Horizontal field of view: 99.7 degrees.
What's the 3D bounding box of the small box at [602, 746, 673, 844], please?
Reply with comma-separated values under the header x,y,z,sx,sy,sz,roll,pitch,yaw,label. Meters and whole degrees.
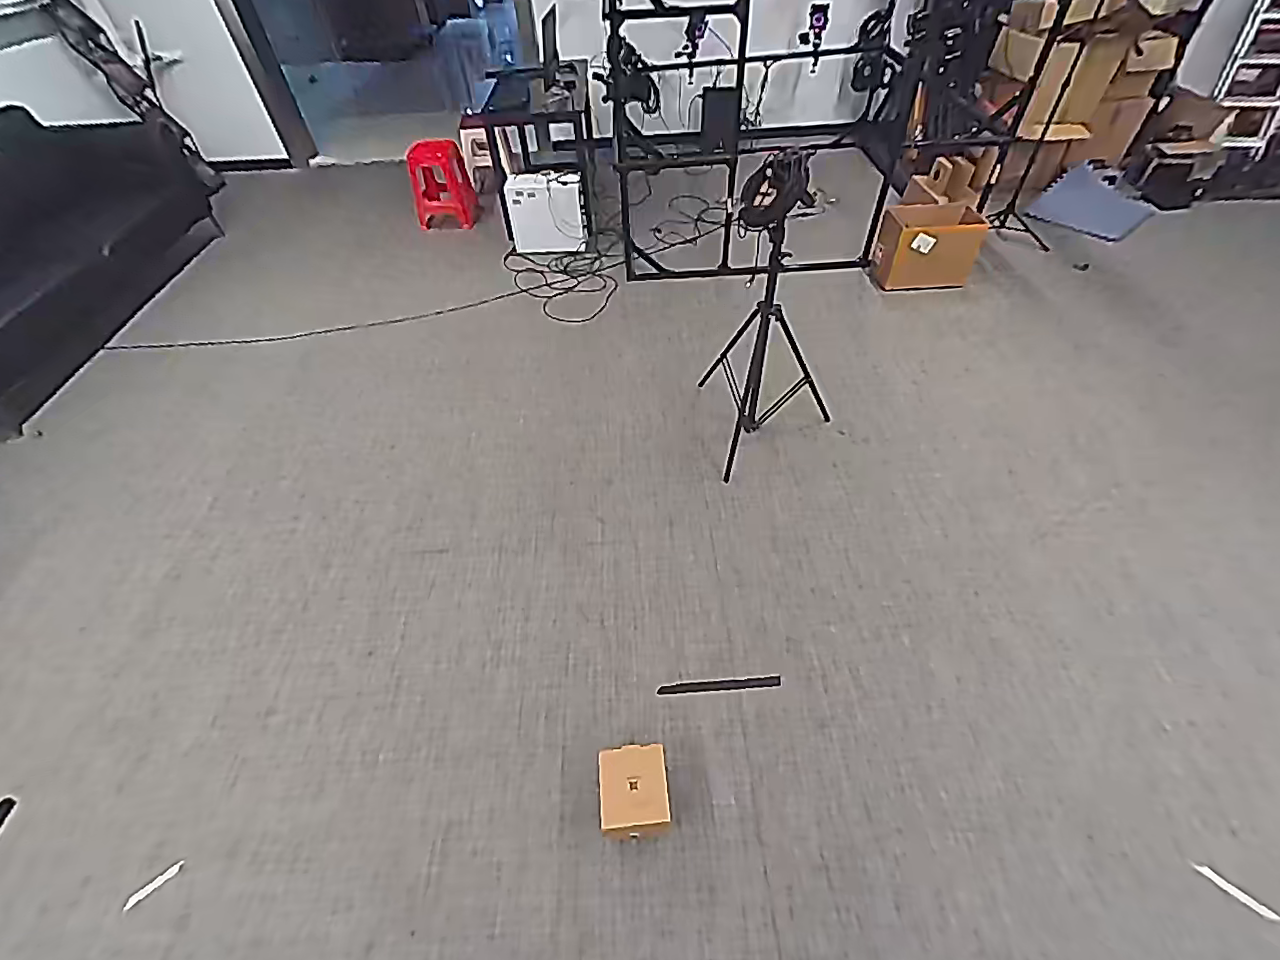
x,y,z,sx,sy,sz,roll,pitch,yaw,label
-0.007,0.799,1.370,0.168,0.176,0.179,-6,49,-1,small box
